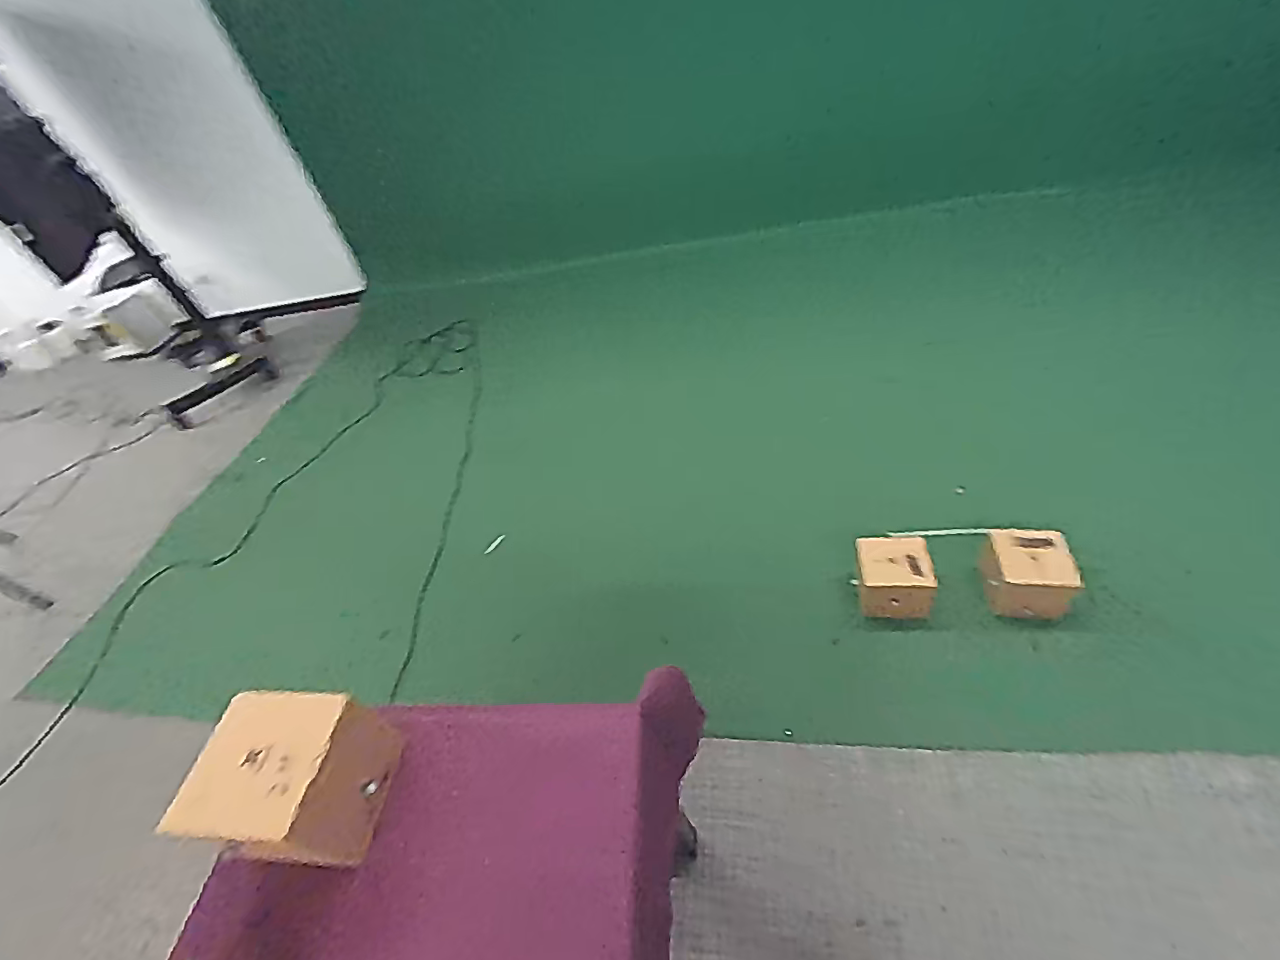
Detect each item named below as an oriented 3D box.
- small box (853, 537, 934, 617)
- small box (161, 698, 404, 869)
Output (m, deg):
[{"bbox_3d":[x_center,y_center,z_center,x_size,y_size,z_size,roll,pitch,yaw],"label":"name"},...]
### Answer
[{"bbox_3d":[0.721,0.282,1.555,0.179,0.176,0.168,-4,45,15],"label":"small box"},{"bbox_3d":[-0.462,0.411,0.732,0.179,0.176,0.168,-3,47,10],"label":"small box"}]
